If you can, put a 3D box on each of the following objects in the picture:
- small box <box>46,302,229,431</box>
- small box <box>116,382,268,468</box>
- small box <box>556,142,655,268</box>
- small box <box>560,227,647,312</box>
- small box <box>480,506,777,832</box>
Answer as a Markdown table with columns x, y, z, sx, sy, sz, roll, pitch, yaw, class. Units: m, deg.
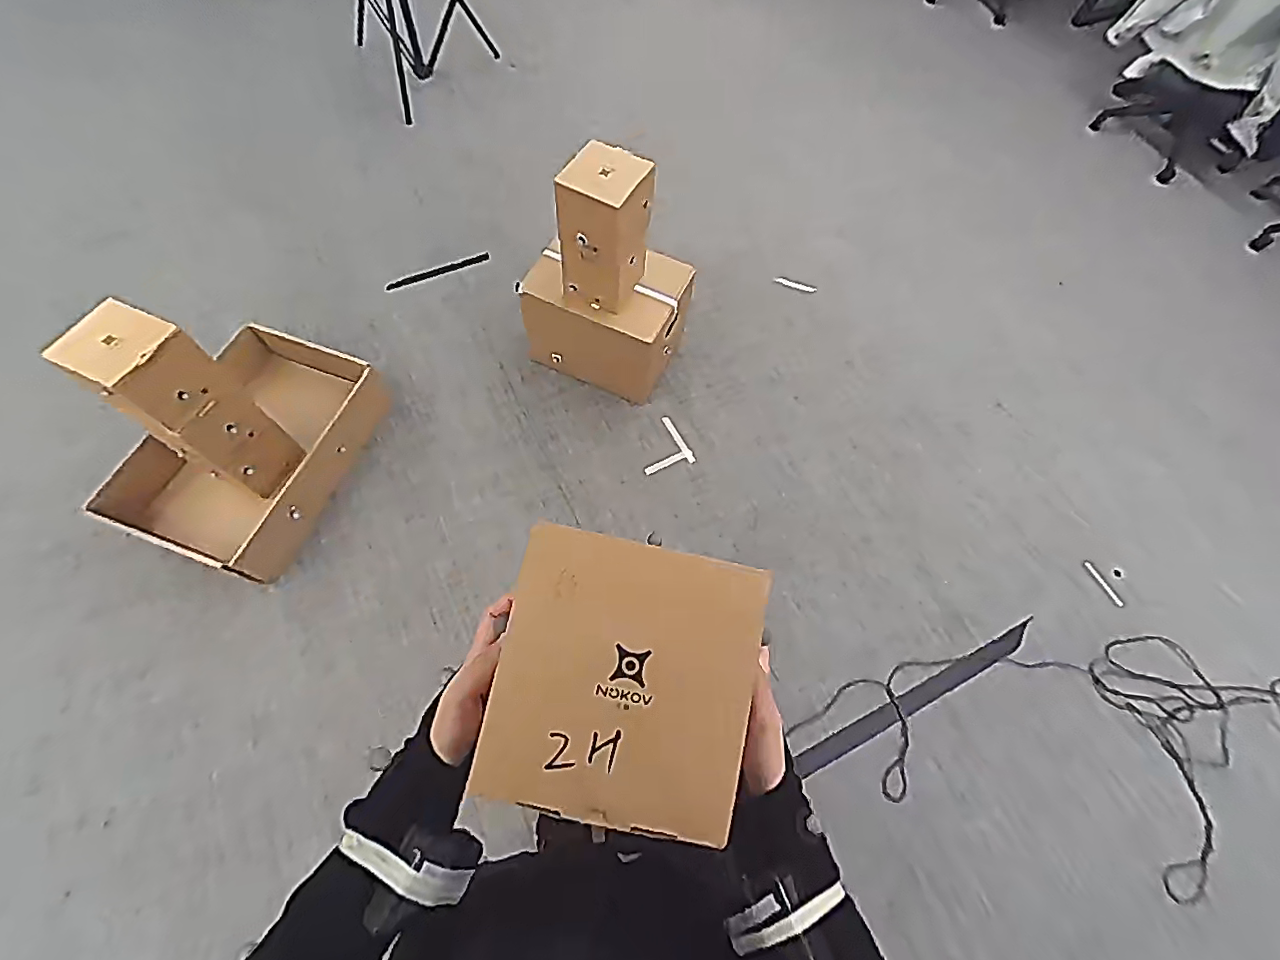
| x | y | z | sx | sy | sz | roll | pitch | yaw | class |
| --- | --- | --- | --- | --- | --- | --- | --- | --- | --- |
| -1.018 | -0.227 | 1.114 | 0.179 | 0.176 | 0.168 | 22 | 64 | 7 | small box |
| -1.024 | -0.148 | 1.257 | 0.179 | 0.176 | 0.168 | 23 | 64 | 7 | small box |
| -0.081 | -0.639 | 1.268 | 0.168 | 0.176 | 0.179 | 26 | 67 | 8 | small box |
| -0.093 | -0.576 | 1.418 | 0.168 | 0.176 | 0.179 | 24 | 65 | 6 | small box |
| -0.008 | 0.132 | 0.428 | 0.168 | 0.176 | 0.179 | 13 | 79 | -1 | small box |
